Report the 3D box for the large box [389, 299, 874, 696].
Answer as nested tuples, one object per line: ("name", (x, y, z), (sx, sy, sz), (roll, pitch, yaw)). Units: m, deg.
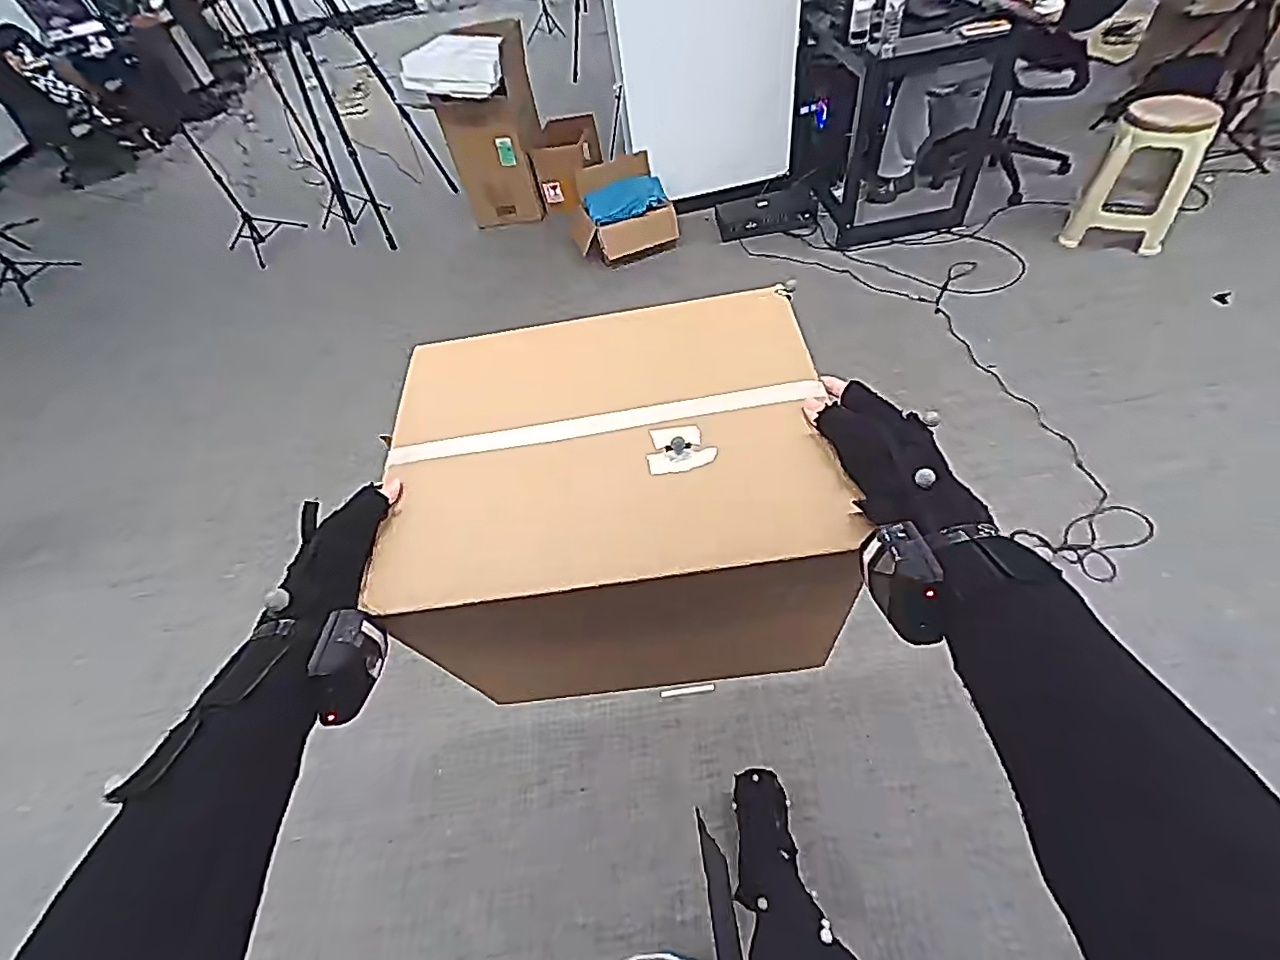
("large box", (-0.008, 0.037, 0.637), (0.408, 0.320, 0.320), (-8, 55, 3))
